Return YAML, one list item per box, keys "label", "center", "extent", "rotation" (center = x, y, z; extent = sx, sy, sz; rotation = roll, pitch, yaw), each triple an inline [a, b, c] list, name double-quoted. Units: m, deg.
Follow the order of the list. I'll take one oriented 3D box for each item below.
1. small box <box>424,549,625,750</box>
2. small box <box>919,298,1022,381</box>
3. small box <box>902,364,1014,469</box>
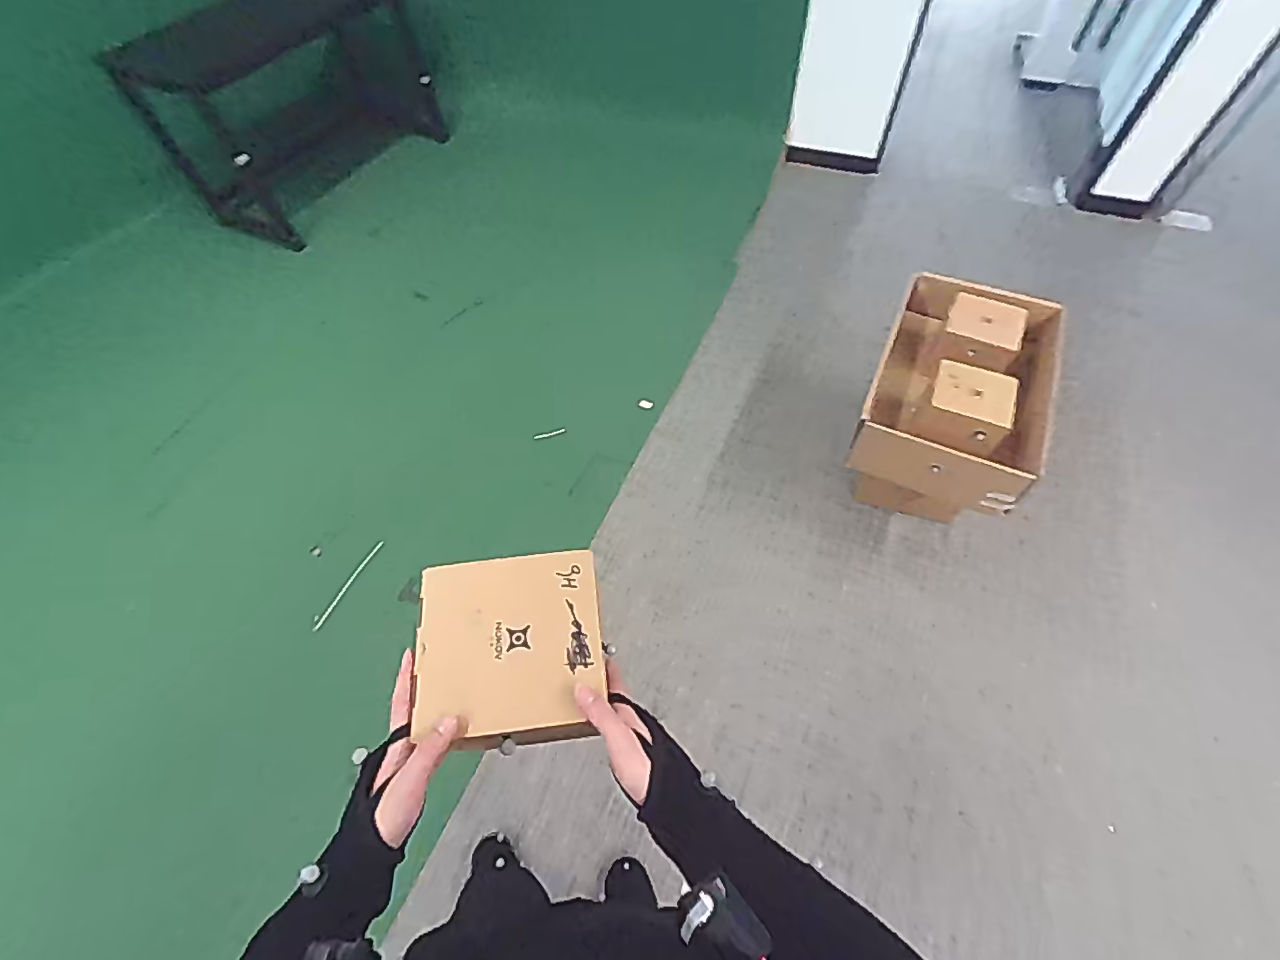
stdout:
- label: "small box"
  center: [-0.110, 0.188, 0.584]
  extent: [0.179, 0.176, 0.168]
  rotation: [-4, 60, -4]
- label: "small box"
  center: [0.892, -0.358, 1.473]
  extent: [0.179, 0.176, 0.168]
  rotation: [24, 62, 16]
- label: "small box"
  center: [0.783, -0.151, 1.341]
  extent: [0.179, 0.176, 0.168]
  rotation: [20, 60, 15]
